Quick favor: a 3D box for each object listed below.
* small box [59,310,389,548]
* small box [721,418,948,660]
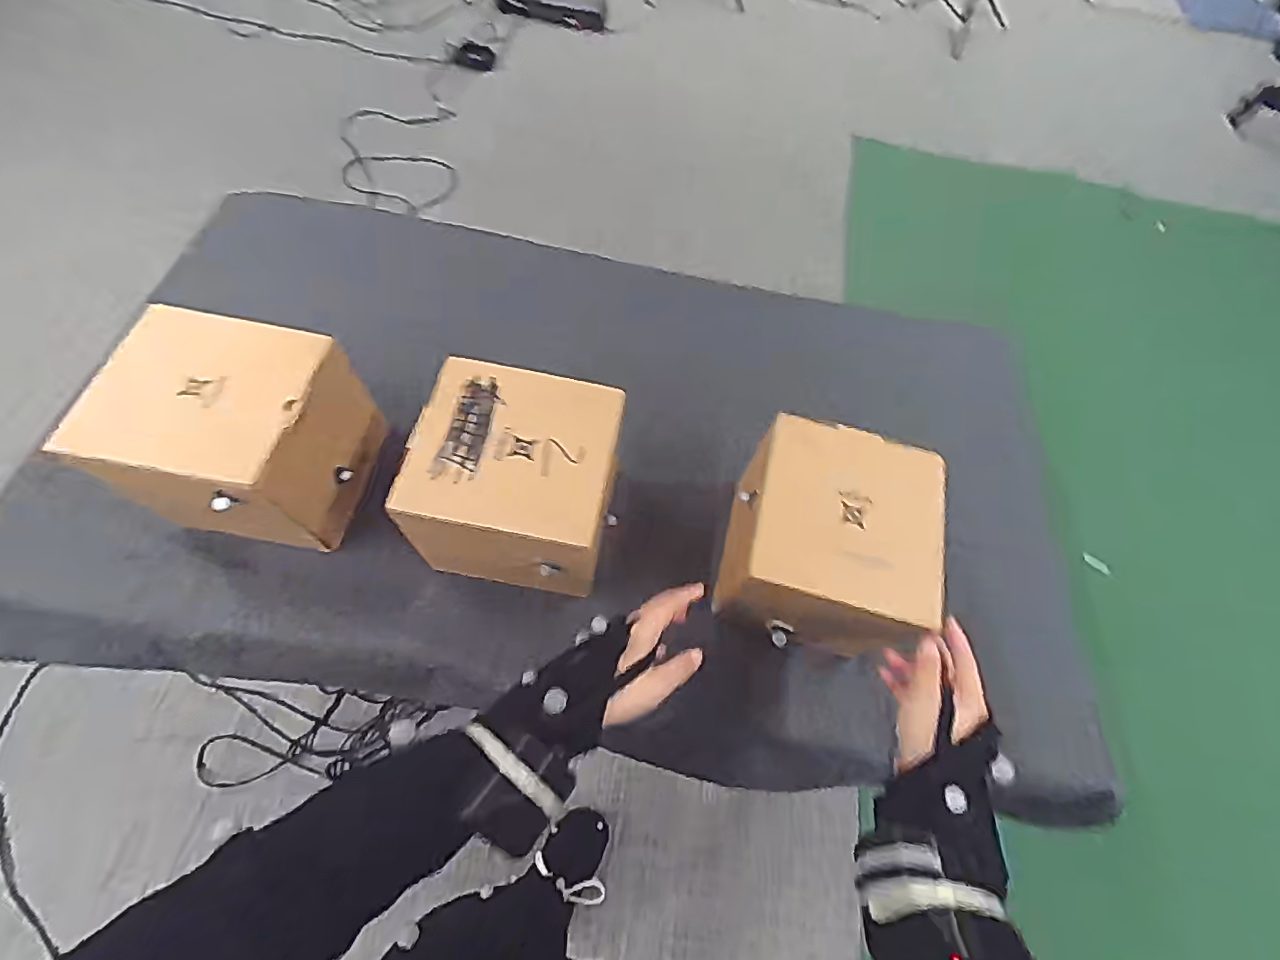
[{"bbox_3d":[-0.393,-0.042,0.555,0.179,0.176,0.168,11,62,-2],"label":"small box"},{"bbox_3d":[0.190,0.068,0.560,0.168,0.176,0.179,15,64,3],"label":"small box"}]
